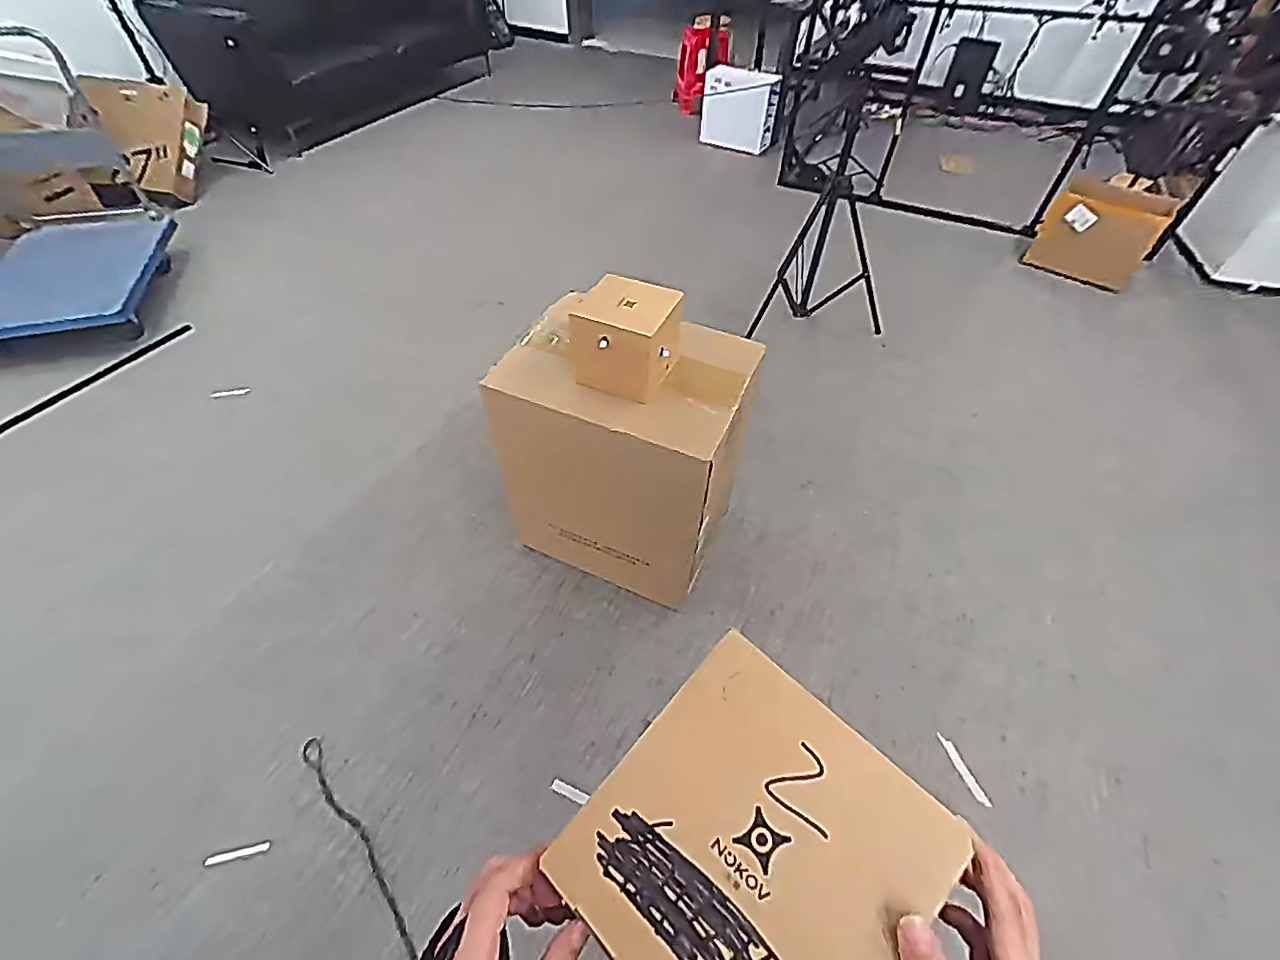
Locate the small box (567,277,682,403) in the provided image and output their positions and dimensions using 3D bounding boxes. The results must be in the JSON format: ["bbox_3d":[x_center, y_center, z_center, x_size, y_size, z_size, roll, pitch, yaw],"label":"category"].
[{"bbox_3d":[-0.028,-0.283,1.111,0.179,0.176,0.168,20,52,15],"label":"small box"}]
